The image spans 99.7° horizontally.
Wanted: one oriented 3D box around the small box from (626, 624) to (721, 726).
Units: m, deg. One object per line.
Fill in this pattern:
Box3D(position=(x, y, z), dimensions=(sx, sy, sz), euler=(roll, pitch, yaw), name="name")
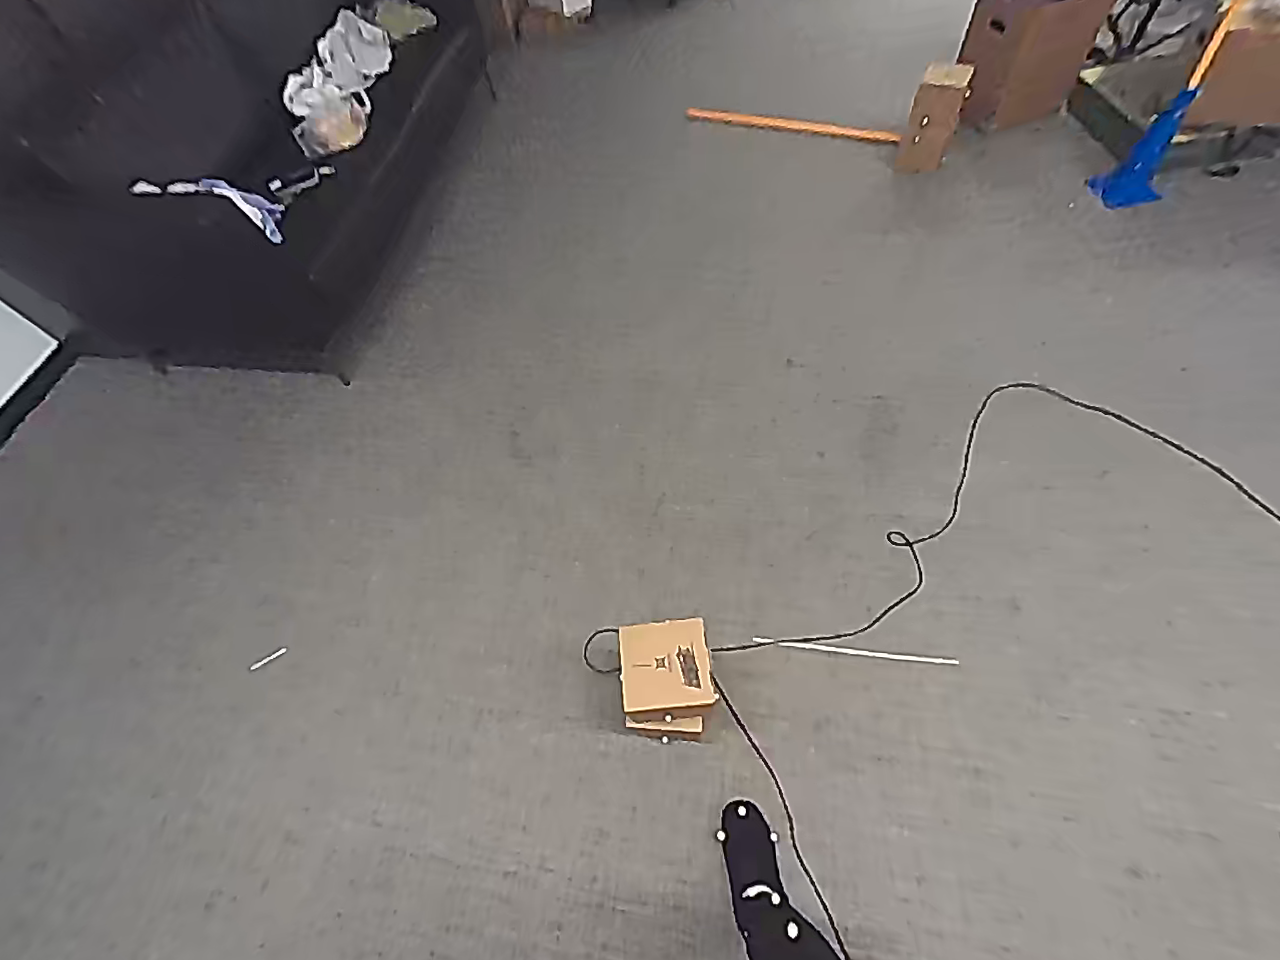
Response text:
Box3D(position=(0.072, 0.413, 1.135), dimensions=(0.179, 0.176, 0.168), euler=(-9, 58, 5), name="small box")
